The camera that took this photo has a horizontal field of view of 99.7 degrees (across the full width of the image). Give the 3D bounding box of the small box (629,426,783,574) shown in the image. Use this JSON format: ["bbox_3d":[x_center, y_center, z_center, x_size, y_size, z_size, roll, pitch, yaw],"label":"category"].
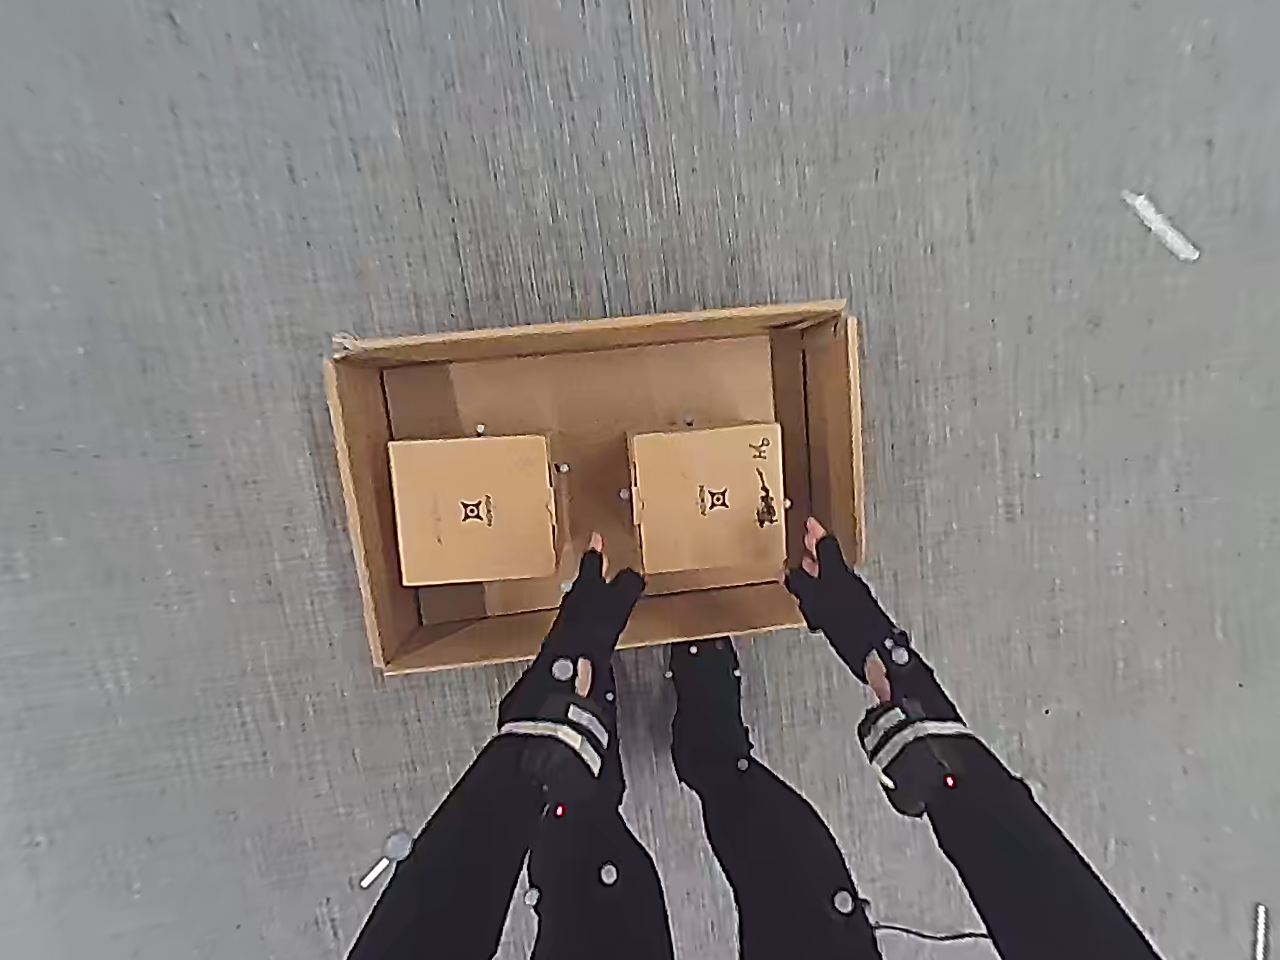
[{"bbox_3d":[0.078,0.017,0.715,0.179,0.176,0.168,-5,98,-2],"label":"small box"}]

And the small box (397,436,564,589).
[{"bbox_3d":[-0.189,0.031,0.695,0.179,0.176,0.168,-3,96,-4],"label":"small box"}]
